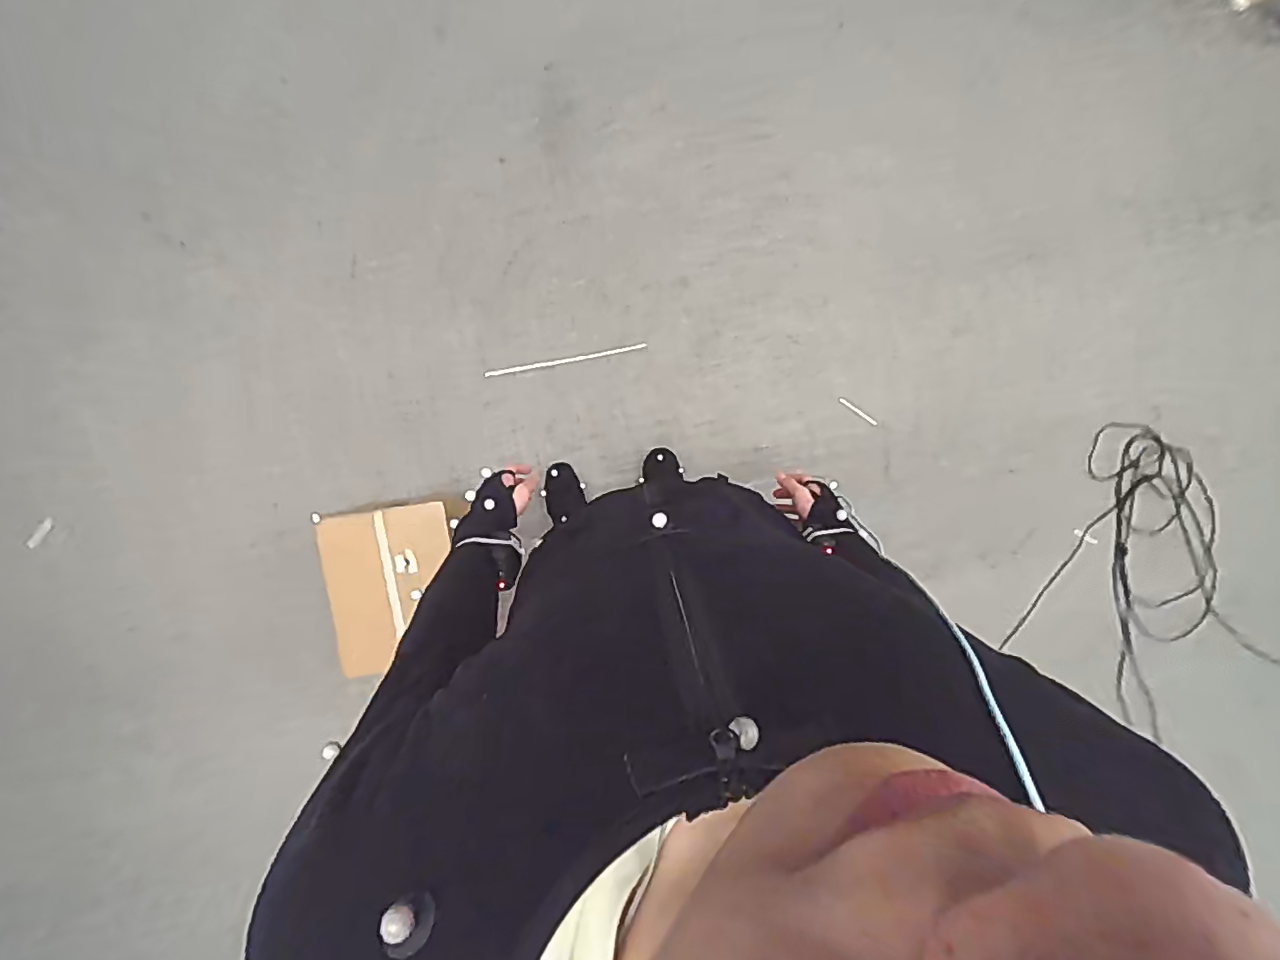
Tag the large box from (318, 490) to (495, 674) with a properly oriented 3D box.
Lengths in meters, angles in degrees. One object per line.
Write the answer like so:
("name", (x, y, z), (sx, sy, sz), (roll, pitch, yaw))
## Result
("large box", (-0.611, 0.256, 1.481), (0.320, 0.320, 0.408), (-9, 94, -4))
